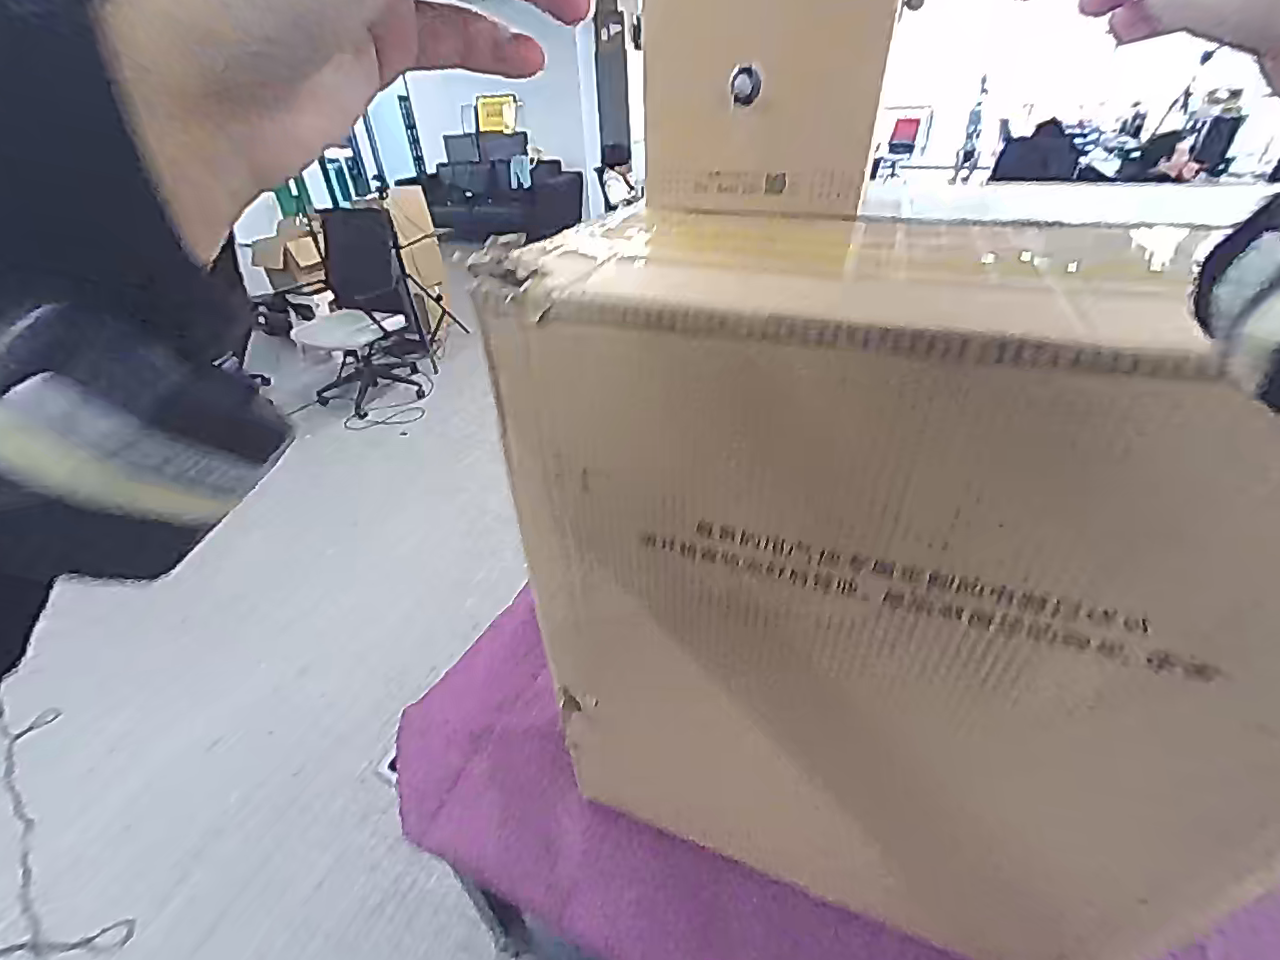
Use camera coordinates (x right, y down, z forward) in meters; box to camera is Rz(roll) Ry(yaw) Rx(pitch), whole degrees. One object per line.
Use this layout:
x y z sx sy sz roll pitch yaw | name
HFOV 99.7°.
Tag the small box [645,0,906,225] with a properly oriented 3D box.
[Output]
0.112 -0.312 0.434 0.168 0.176 0.179 12 38 18 | small box
